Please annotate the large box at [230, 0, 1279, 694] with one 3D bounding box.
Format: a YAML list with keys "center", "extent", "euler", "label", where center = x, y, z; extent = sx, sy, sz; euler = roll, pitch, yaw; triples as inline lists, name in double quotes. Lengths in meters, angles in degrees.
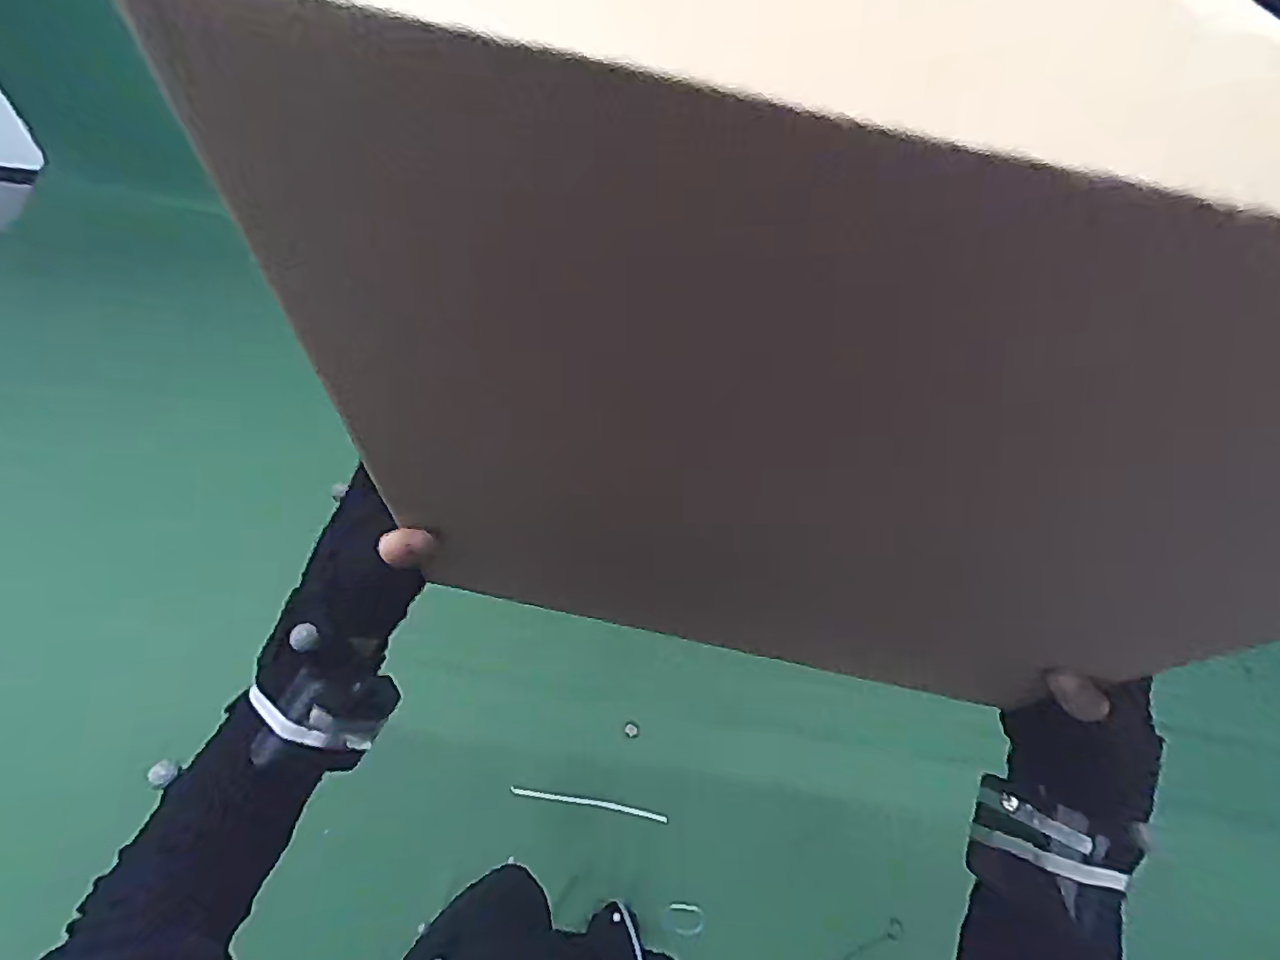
- center: [0.104, -0.098, 0.322]
  extent: [0.408, 0.320, 0.320]
  euler: [13, 56, -2]
  label: "large box"
